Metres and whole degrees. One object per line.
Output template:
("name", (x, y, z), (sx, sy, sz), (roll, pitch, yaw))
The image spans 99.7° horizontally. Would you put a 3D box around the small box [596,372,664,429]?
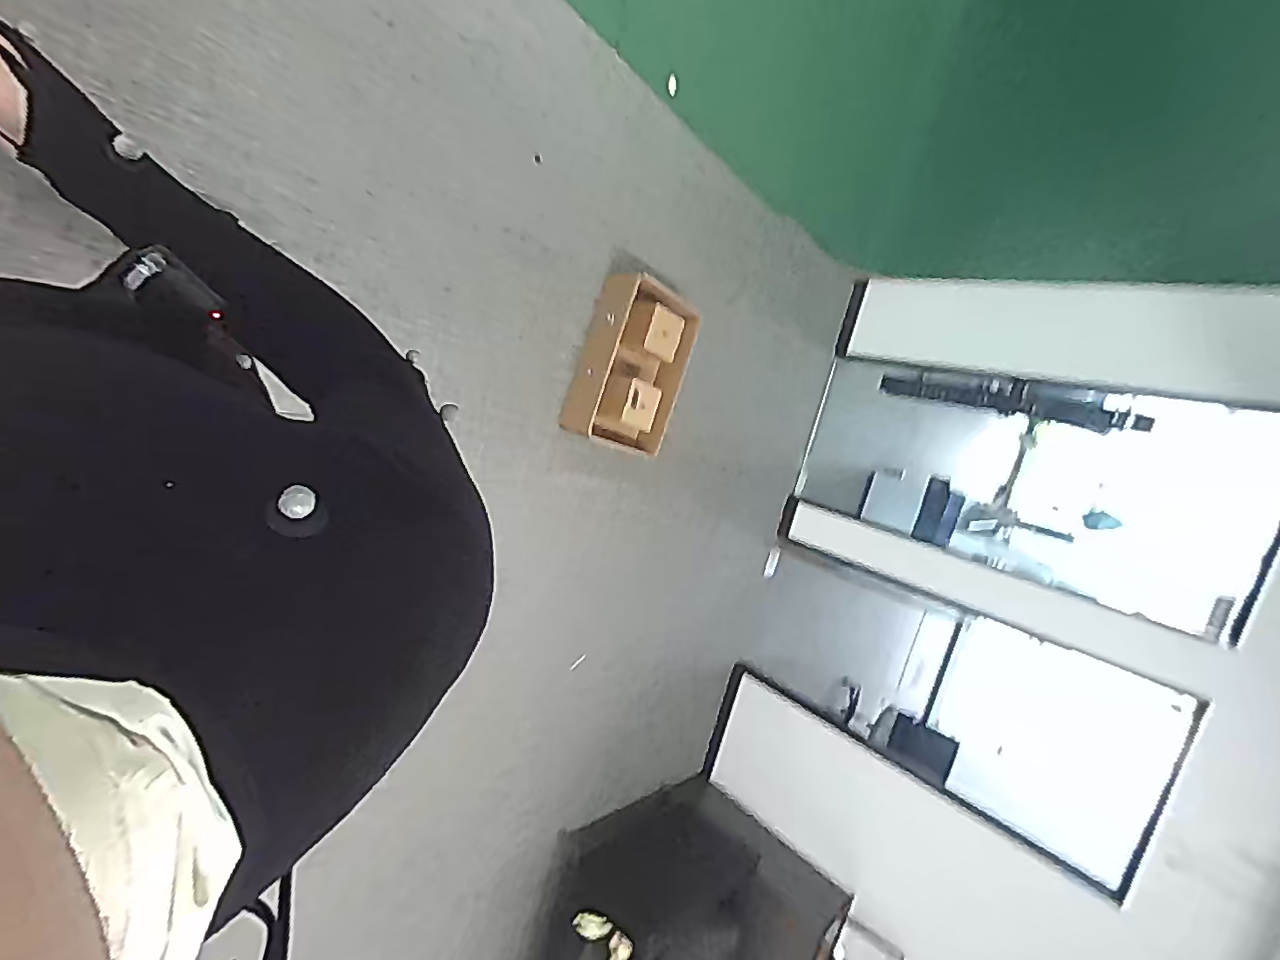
("small box", (-0.042, -0.308, 2.072), (0.179, 0.176, 0.168), (13, 96, -49))
